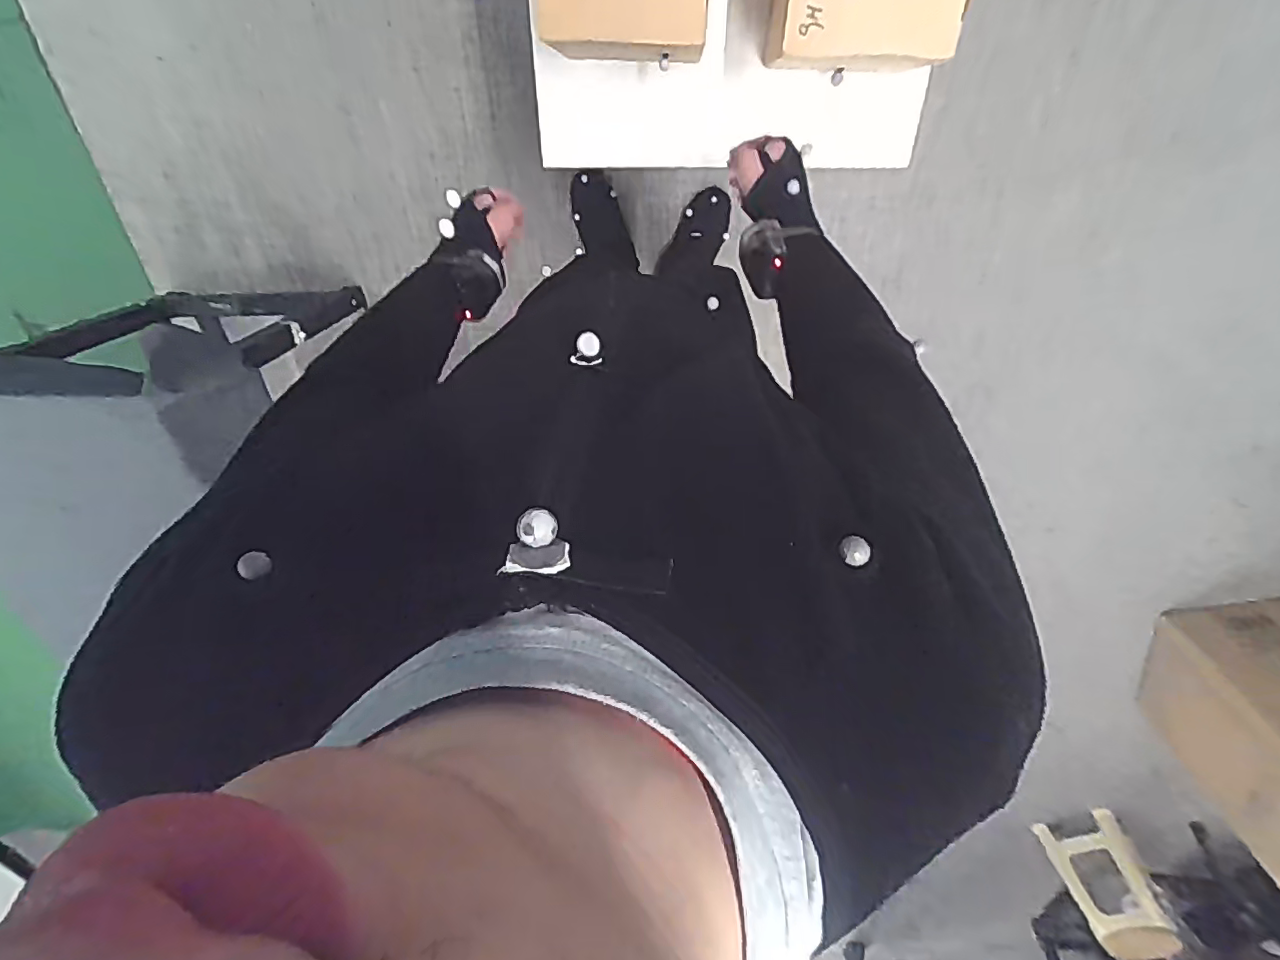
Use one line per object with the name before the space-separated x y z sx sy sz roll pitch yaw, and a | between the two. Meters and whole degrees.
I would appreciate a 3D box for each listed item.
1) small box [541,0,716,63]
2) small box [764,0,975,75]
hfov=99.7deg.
small box | -0.007 -0.558 0.575 0.179 0.176 0.168 3 122 2
small box | 0.241 -0.539 0.571 0.179 0.176 0.168 3 124 1
